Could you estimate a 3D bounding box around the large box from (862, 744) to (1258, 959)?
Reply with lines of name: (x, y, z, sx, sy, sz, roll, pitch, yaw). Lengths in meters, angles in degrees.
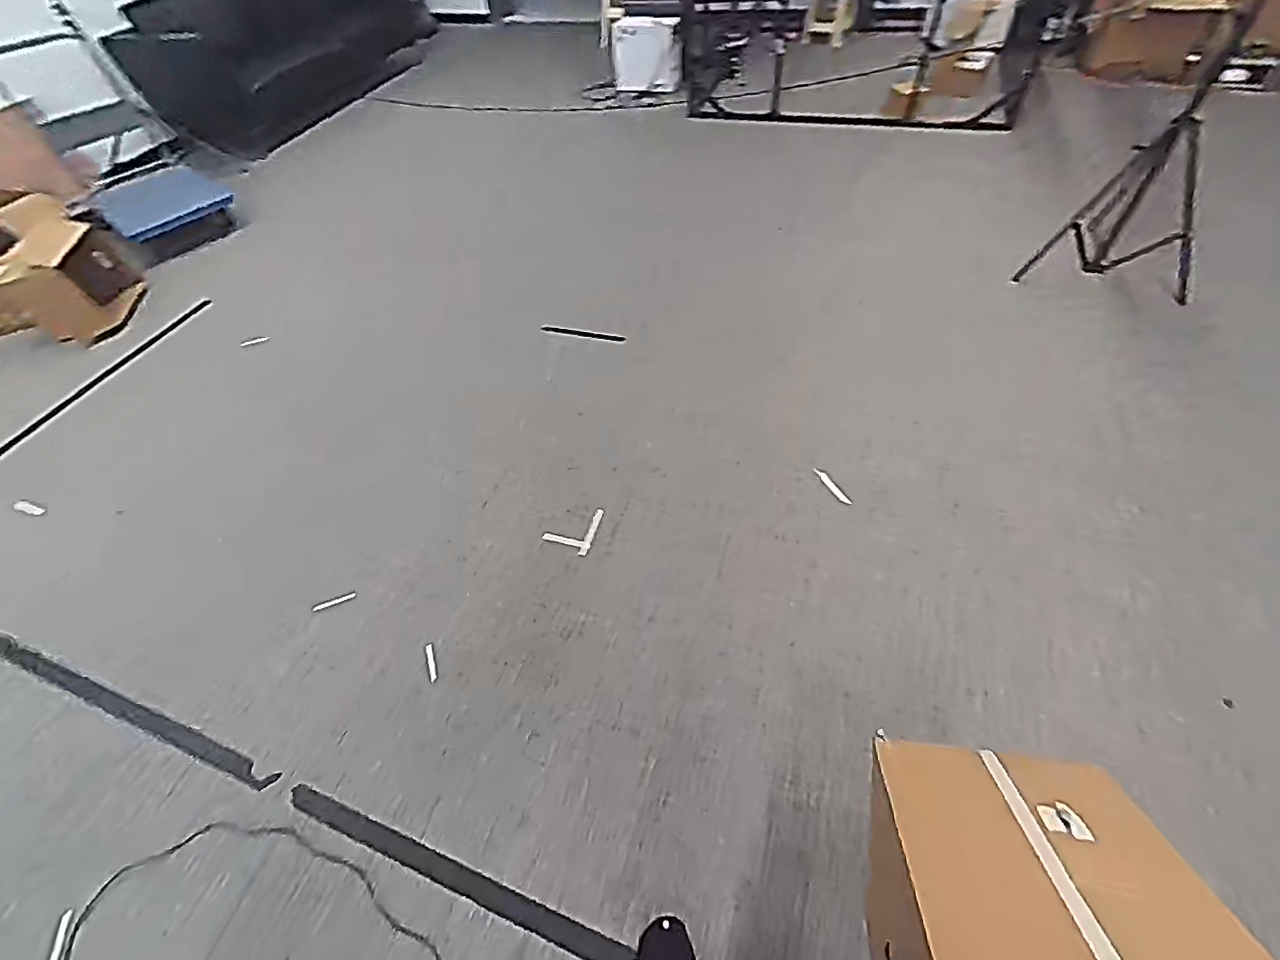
large box: (0.470, 0.598, 0.657, 0.320, 0.320, 0.408, 3, 8, 13)
